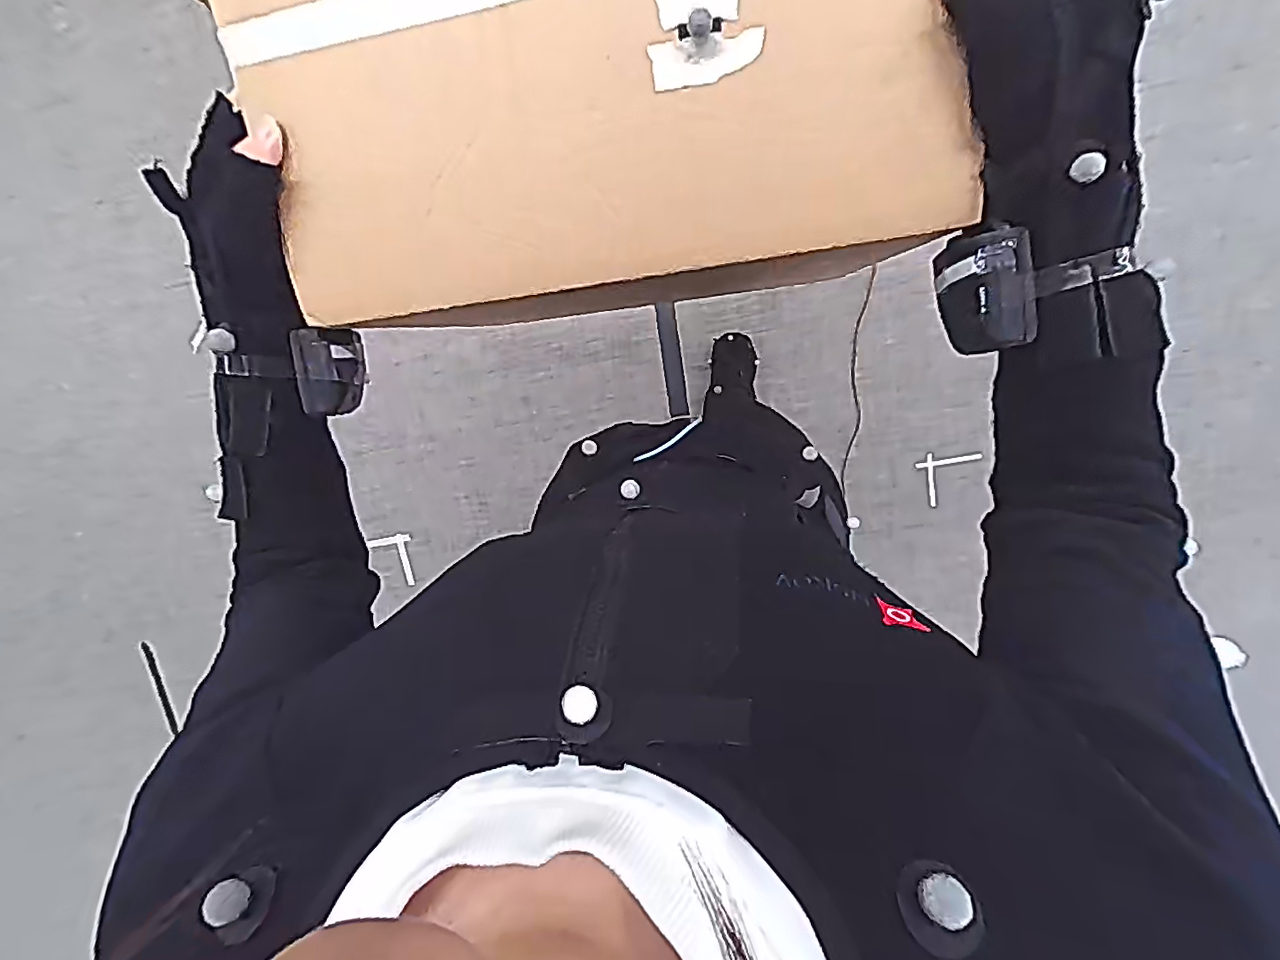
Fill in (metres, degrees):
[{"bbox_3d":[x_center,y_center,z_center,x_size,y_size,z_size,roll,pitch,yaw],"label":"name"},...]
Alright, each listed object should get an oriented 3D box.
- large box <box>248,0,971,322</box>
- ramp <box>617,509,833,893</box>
[{"bbox_3d":[-0.017,-0.318,0.437,0.408,0.320,0.320,-6,106,9],"label":"large box"},{"bbox_3d":[0.215,0.594,1.448,0.509,0.206,0.991,-7,99,11],"label":"ramp"}]
